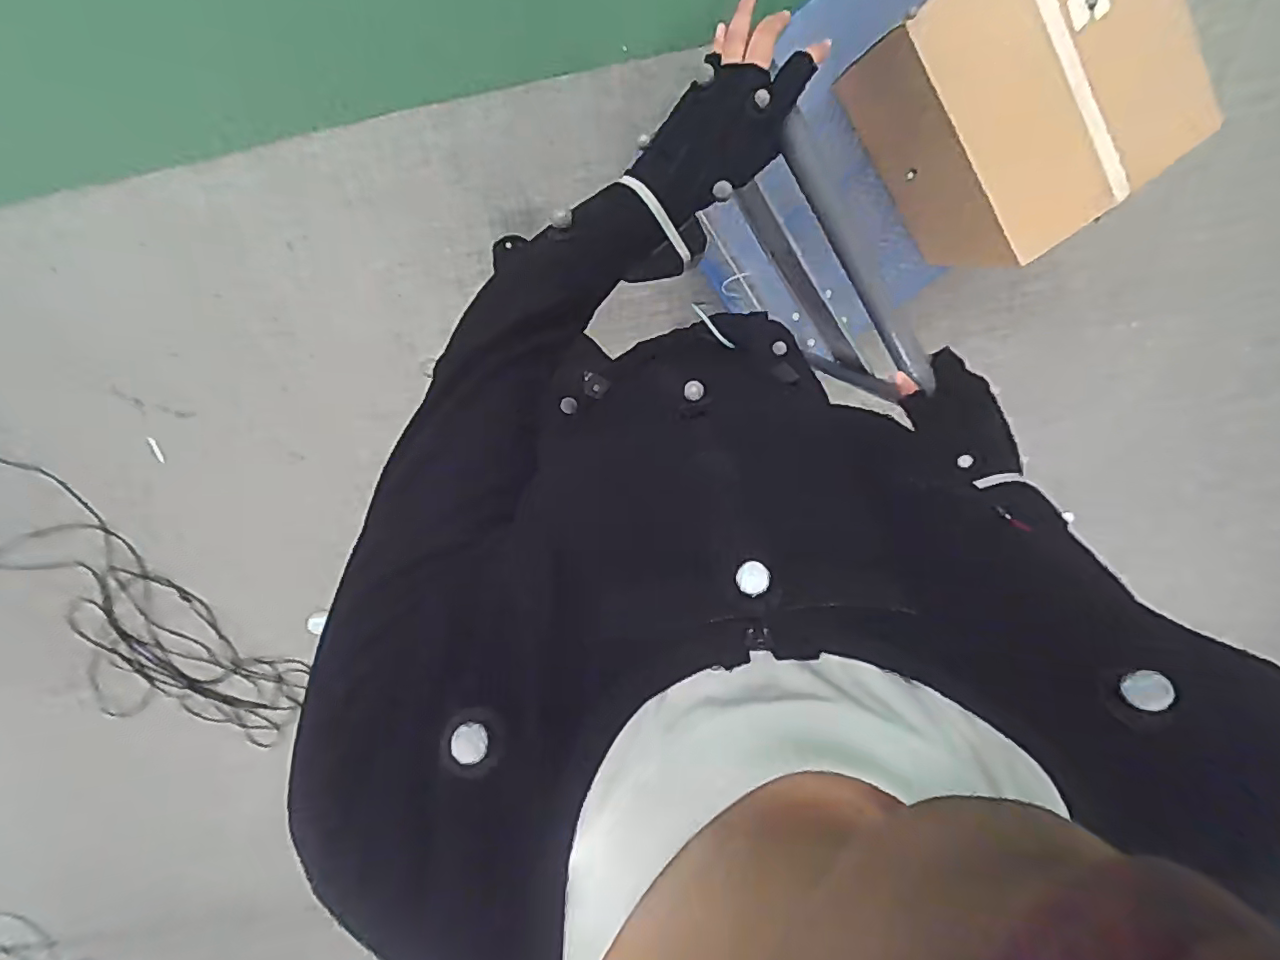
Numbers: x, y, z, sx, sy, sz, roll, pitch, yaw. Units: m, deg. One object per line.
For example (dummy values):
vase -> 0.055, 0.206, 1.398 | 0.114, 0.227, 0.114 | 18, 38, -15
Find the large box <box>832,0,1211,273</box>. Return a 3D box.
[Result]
large box -> 0.596, -0.613, 0.910 | 0.320, 0.320, 0.408 | -36, 106, 14
